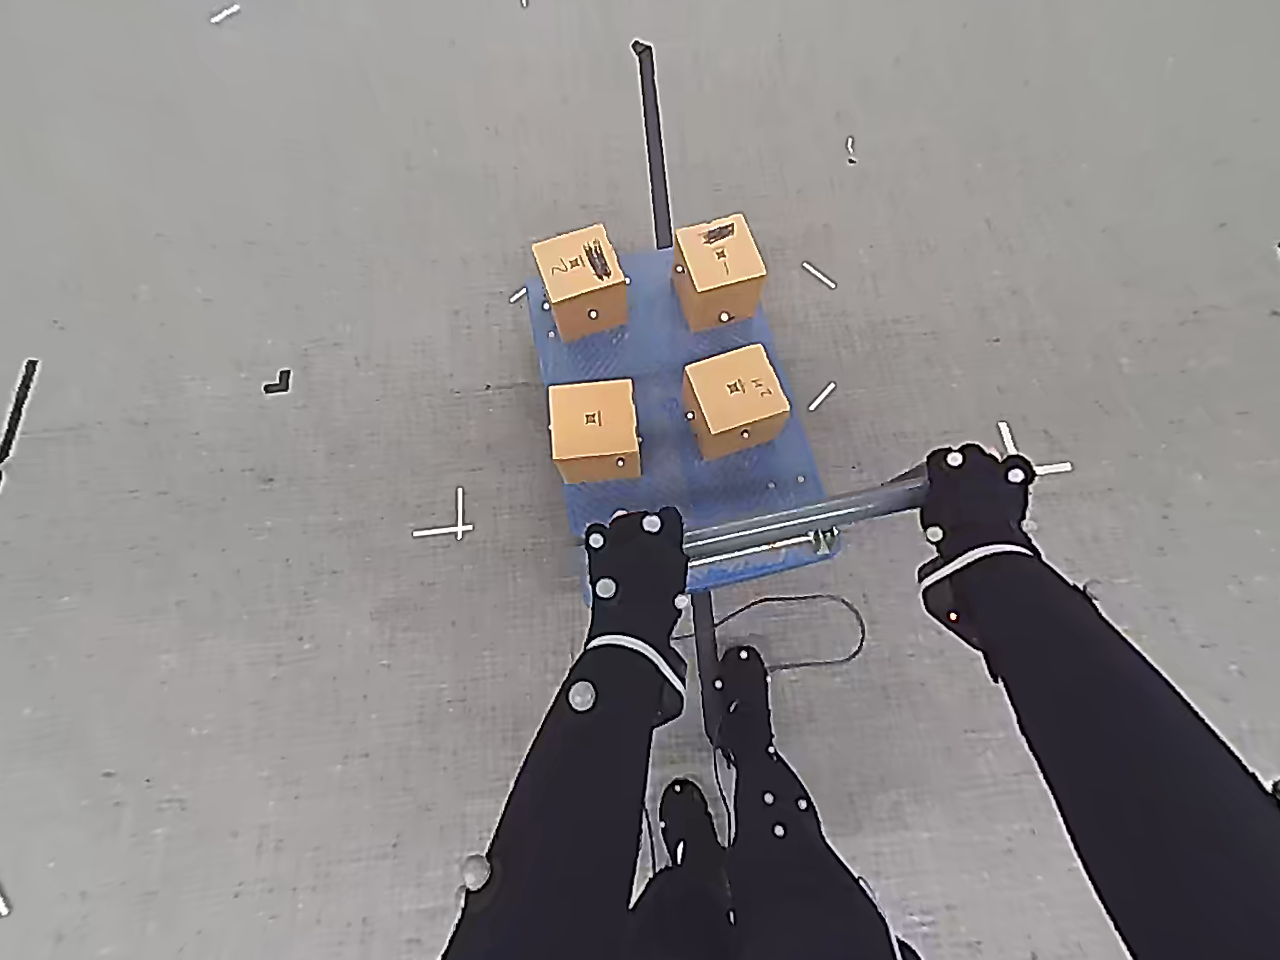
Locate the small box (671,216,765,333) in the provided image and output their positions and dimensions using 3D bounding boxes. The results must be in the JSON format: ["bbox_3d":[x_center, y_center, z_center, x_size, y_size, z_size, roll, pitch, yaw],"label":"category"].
[{"bbox_3d":[0.175,-0.483,1.284,0.168,0.176,0.179,-16,74,-4],"label":"small box"}]

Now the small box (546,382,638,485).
[{"bbox_3d":[-0.100,-0.094,1.172,0.179,0.176,0.168,-6,73,-2],"label":"small box"}]

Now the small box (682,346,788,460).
[{"bbox_3d":[0.197,-0.161,1.186,0.179,0.176,0.168,-18,74,-4],"label":"small box"}]
